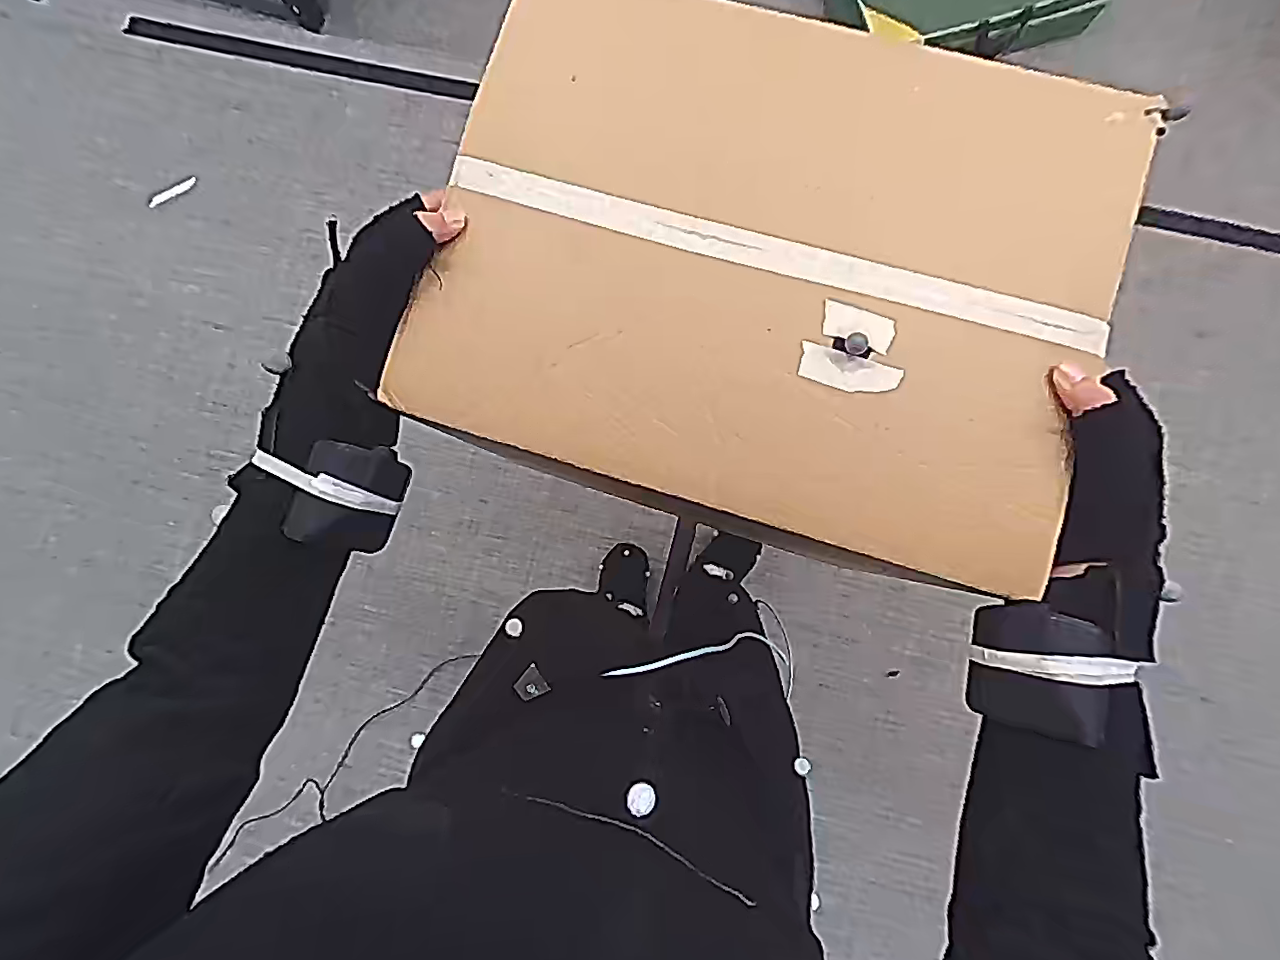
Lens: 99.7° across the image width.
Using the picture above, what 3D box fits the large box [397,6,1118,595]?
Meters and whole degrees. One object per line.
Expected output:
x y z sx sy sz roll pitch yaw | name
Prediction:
0.079 -0.115 0.492 0.408 0.320 0.320 17 86 4 | large box
